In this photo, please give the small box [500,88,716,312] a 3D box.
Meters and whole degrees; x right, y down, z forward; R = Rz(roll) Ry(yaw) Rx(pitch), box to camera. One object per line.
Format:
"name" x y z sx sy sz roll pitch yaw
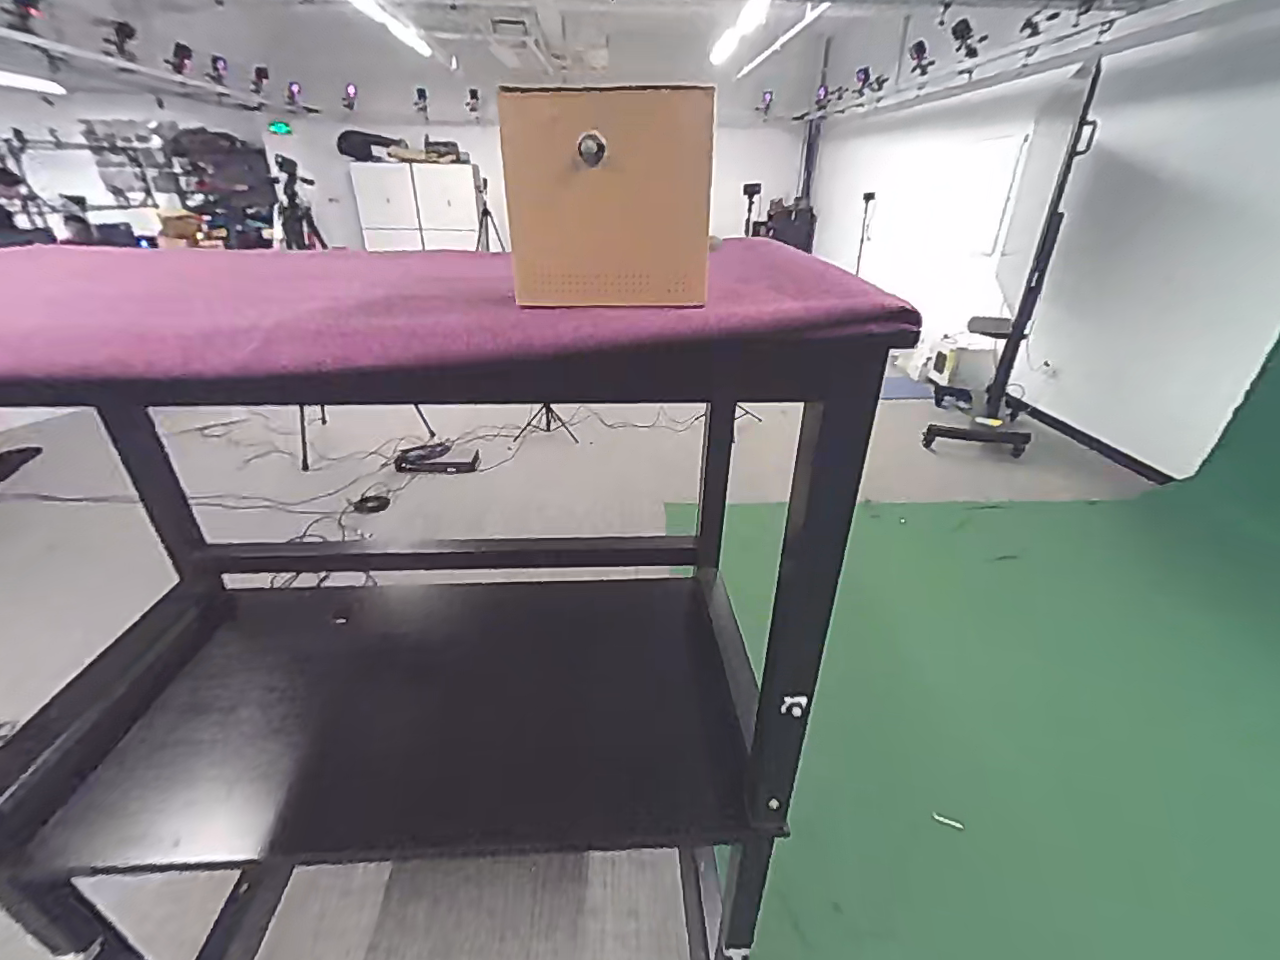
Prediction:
"small box" -0.020 -0.262 0.529 0.179 0.176 0.168 2 27 3
